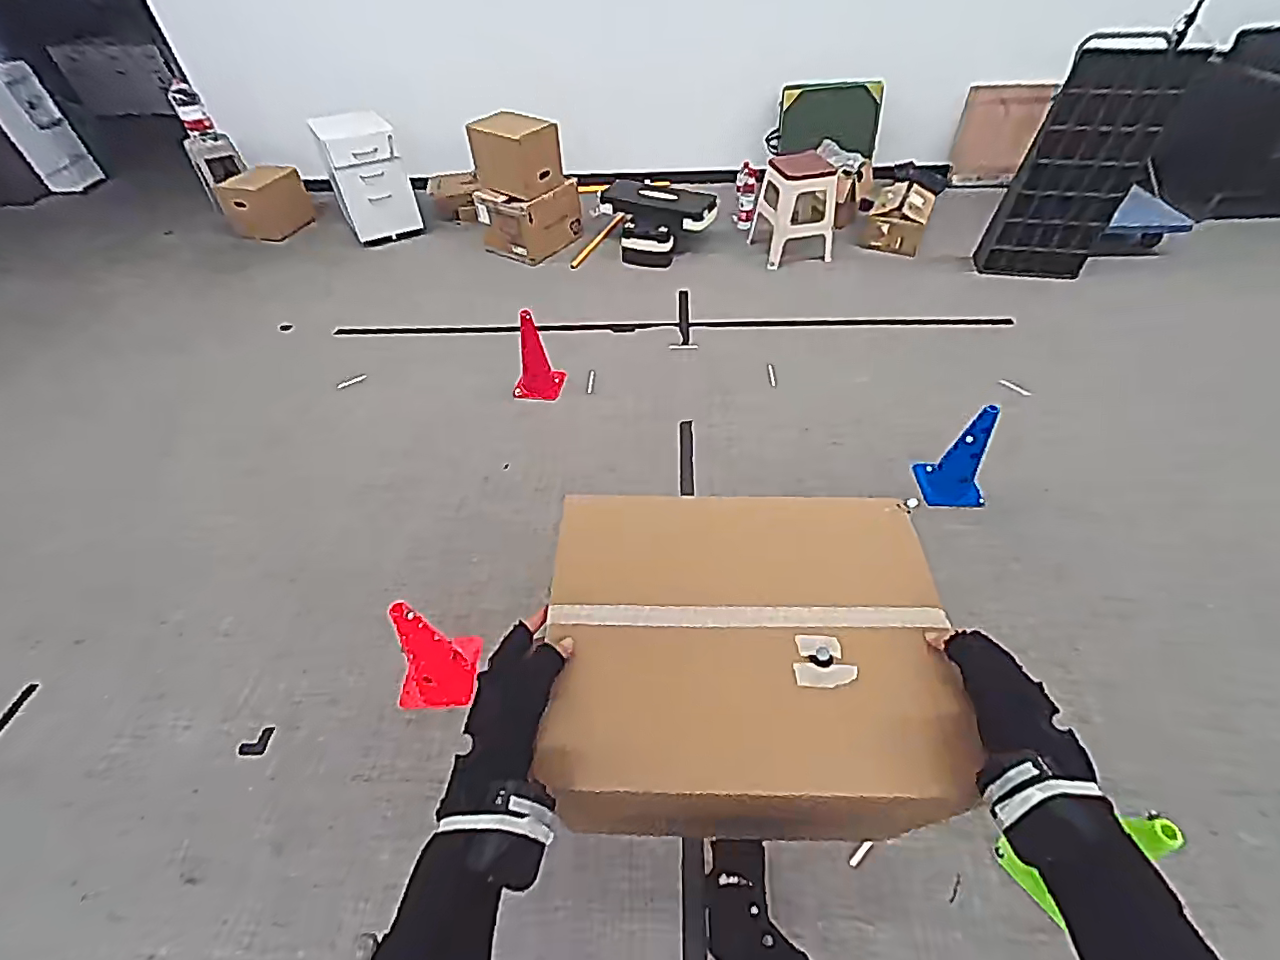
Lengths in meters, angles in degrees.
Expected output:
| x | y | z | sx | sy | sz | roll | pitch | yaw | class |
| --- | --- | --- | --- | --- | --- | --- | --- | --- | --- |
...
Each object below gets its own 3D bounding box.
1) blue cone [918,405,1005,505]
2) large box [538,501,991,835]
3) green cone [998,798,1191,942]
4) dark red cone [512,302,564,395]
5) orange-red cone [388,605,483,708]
| x | y | z | sx | sy | sz | roll | pitch | yaw | class |
| --- | --- | --- | --- | --- | --- | --- | --- | --- | --- |
| 1.102 | -0.096 | 1.810 | 0.192 | 0.380 | 0.193 | 3 | 48 | 4 | blue cone |
| 0.107 | 0.239 | 0.675 | 0.408 | 0.320 | 0.320 | 1 | 51 | 1 | large box |
| 0.914 | 0.719 | 1.046 | 0.202 | 0.368 | 0.200 | -28 | 53 | -23 | green cone |
| -0.447 | -0.549 | 2.241 | 0.201 | 0.394 | 0.202 | 5 | 48 | 6 | dark red cone |
| -0.556 | 0.424 | 1.385 | 0.198 | 0.360 | 0.199 | -2 | 49 | 2 | orange-red cone |
